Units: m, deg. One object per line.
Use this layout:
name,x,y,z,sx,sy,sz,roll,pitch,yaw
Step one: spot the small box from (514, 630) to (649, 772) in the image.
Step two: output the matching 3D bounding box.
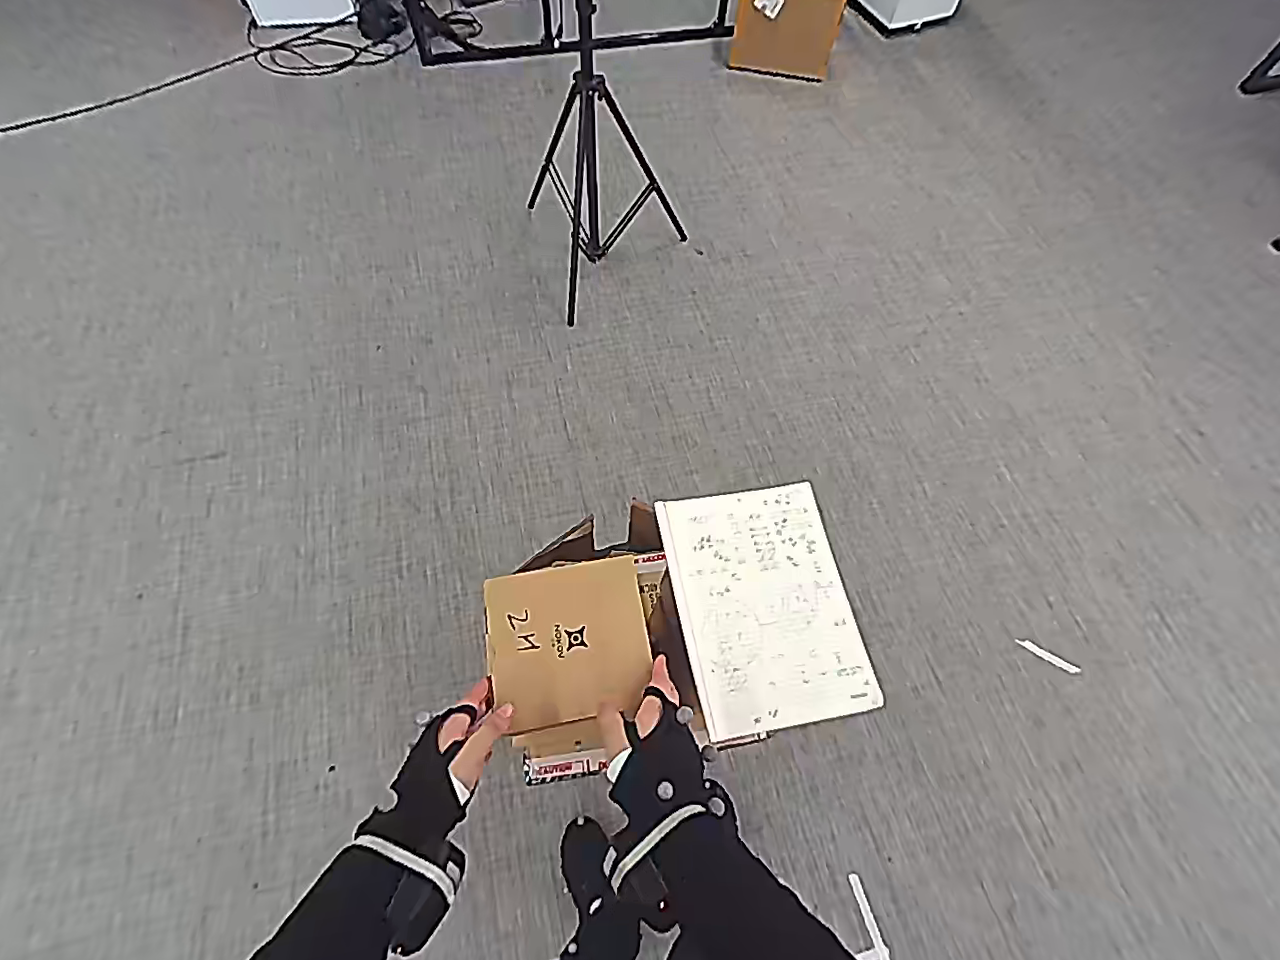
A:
small box,-0.085,0.324,0.801,0.179,0.176,0.168,-6,66,-4

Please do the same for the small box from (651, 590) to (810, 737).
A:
small box,0.126,0.285,0.832,0.179,0.176,0.168,-12,66,-10
